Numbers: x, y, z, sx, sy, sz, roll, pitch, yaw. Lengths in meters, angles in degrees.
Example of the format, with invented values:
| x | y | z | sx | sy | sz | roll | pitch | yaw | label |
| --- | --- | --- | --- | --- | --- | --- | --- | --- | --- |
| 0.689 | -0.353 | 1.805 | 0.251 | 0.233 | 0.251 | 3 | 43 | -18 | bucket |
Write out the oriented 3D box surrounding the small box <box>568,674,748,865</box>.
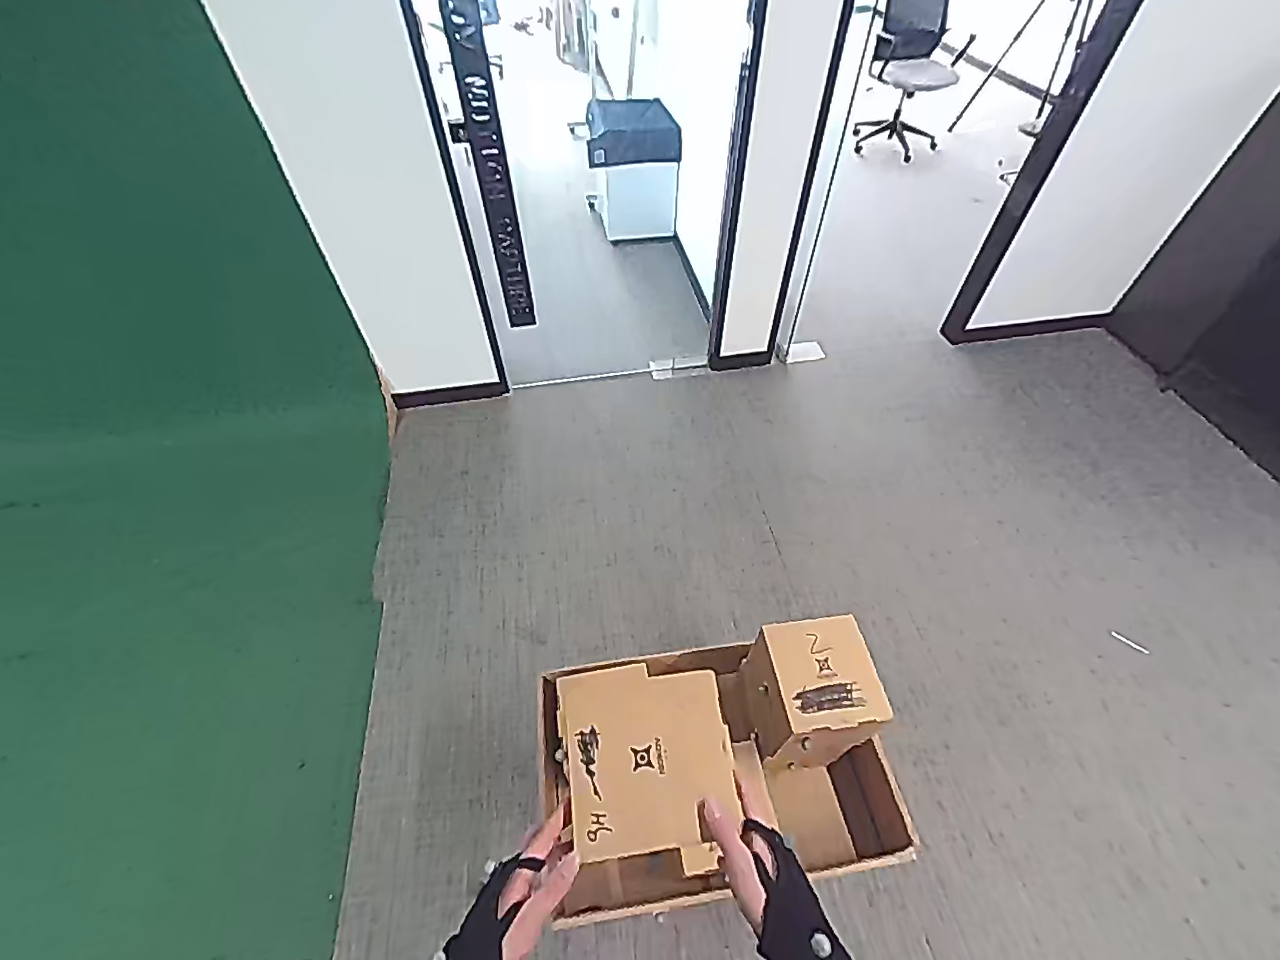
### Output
| x | y | z | sx | sy | sz | roll | pitch | yaw | label |
| --- | --- | --- | --- | --- | --- | --- | --- | --- | --- |
| 0.008 | 0.339 | 0.636 | 0.179 | 0.176 | 0.168 | -4 | 56 | -7 | small box |

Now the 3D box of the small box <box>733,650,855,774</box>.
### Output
| x | y | z | sx | sy | sz | roll | pitch | yaw | label |
| --- | --- | --- | --- | --- | --- | --- | --- | --- | --- |
| 0.288 | 0.458 | 1.063 | 0.168 | 0.176 | 0.179 | -5 | 52 | -5 | small box |
